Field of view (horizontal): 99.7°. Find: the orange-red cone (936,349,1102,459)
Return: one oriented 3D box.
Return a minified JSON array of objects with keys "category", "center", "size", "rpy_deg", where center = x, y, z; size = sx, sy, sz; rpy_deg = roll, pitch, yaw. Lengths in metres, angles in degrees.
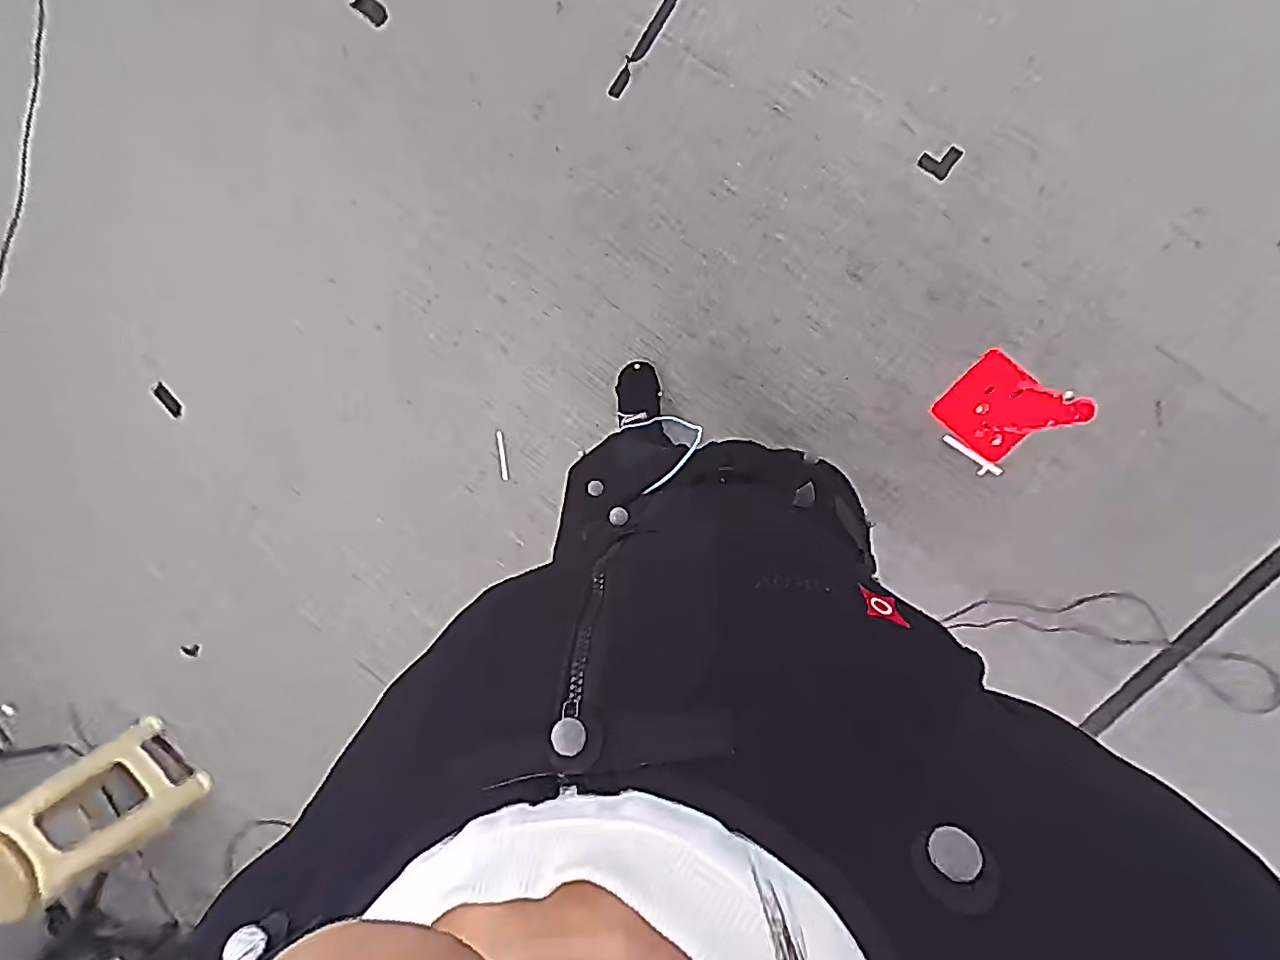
[{"category":"orange-red cone","center":[0.783,-0.150,1.071],"size":[0.198,0.360,0.199],"rpy_deg":[43,103,2]}]
